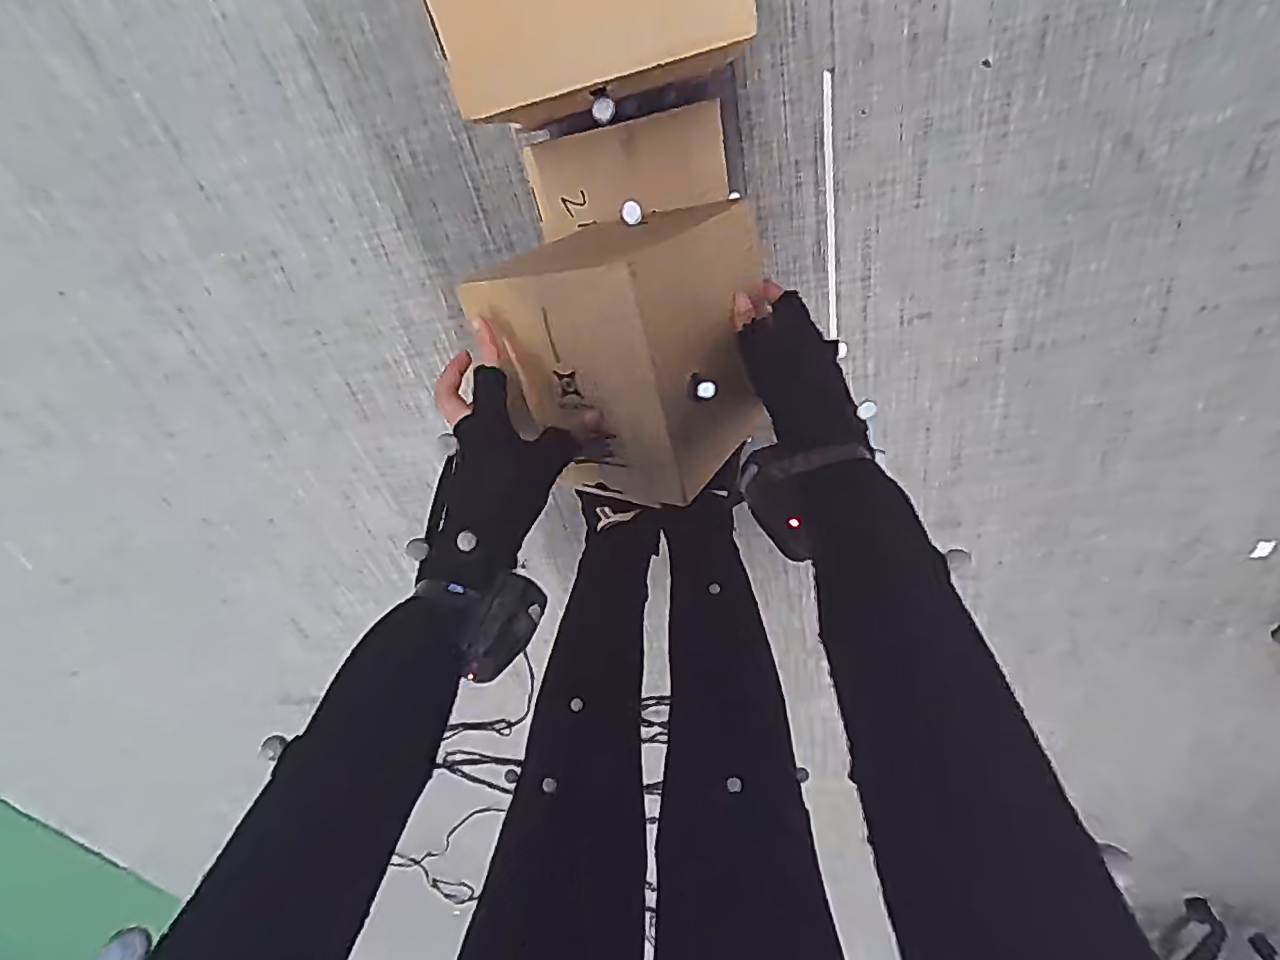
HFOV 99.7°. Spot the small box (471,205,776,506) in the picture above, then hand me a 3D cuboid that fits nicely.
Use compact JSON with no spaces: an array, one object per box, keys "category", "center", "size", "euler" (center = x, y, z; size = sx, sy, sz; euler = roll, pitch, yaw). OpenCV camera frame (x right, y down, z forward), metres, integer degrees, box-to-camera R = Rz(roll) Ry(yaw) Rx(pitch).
[{"category":"small box","center":[0.002,-0.107,0.450],"size":[0.168,0.176,0.179],"euler":[9,129,35]}]

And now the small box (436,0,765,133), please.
[{"category":"small box","center":[-0.028,-0.335,0.338],"size":[0.179,0.176,0.168],"euler":[-9,122,10]}]
